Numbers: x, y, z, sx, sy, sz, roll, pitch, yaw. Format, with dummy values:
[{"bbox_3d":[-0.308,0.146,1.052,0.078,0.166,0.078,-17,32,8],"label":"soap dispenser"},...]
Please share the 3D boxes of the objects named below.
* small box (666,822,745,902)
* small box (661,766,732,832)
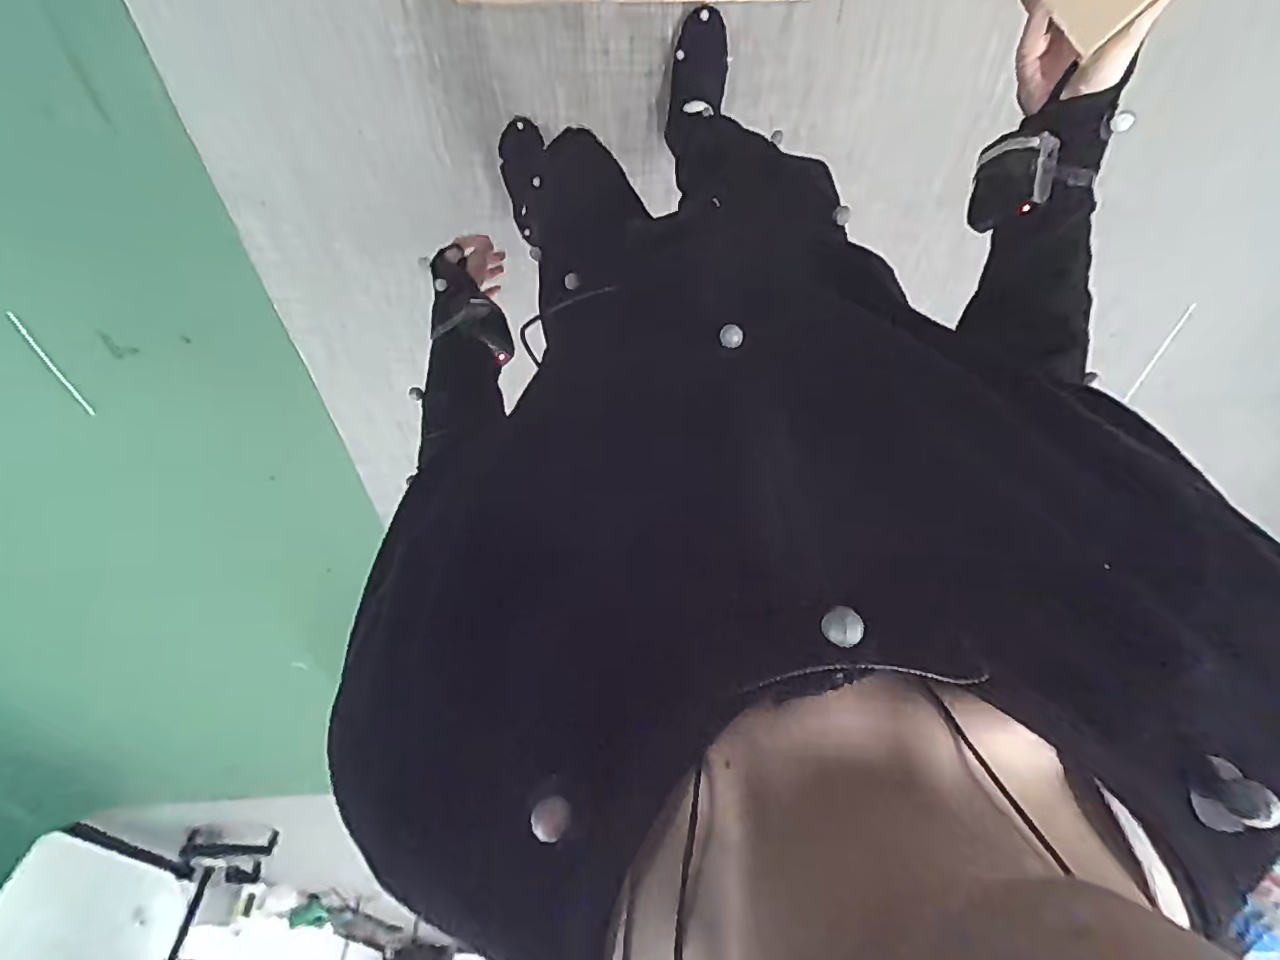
[{"bbox_3d":[0.193,1.156,1.637,0.179,0.176,0.168,-28,129,22],"label":"small box"},{"bbox_3d":[0.181,1.054,1.767,0.179,0.176,0.168,-20,132,13],"label":"small box"}]
